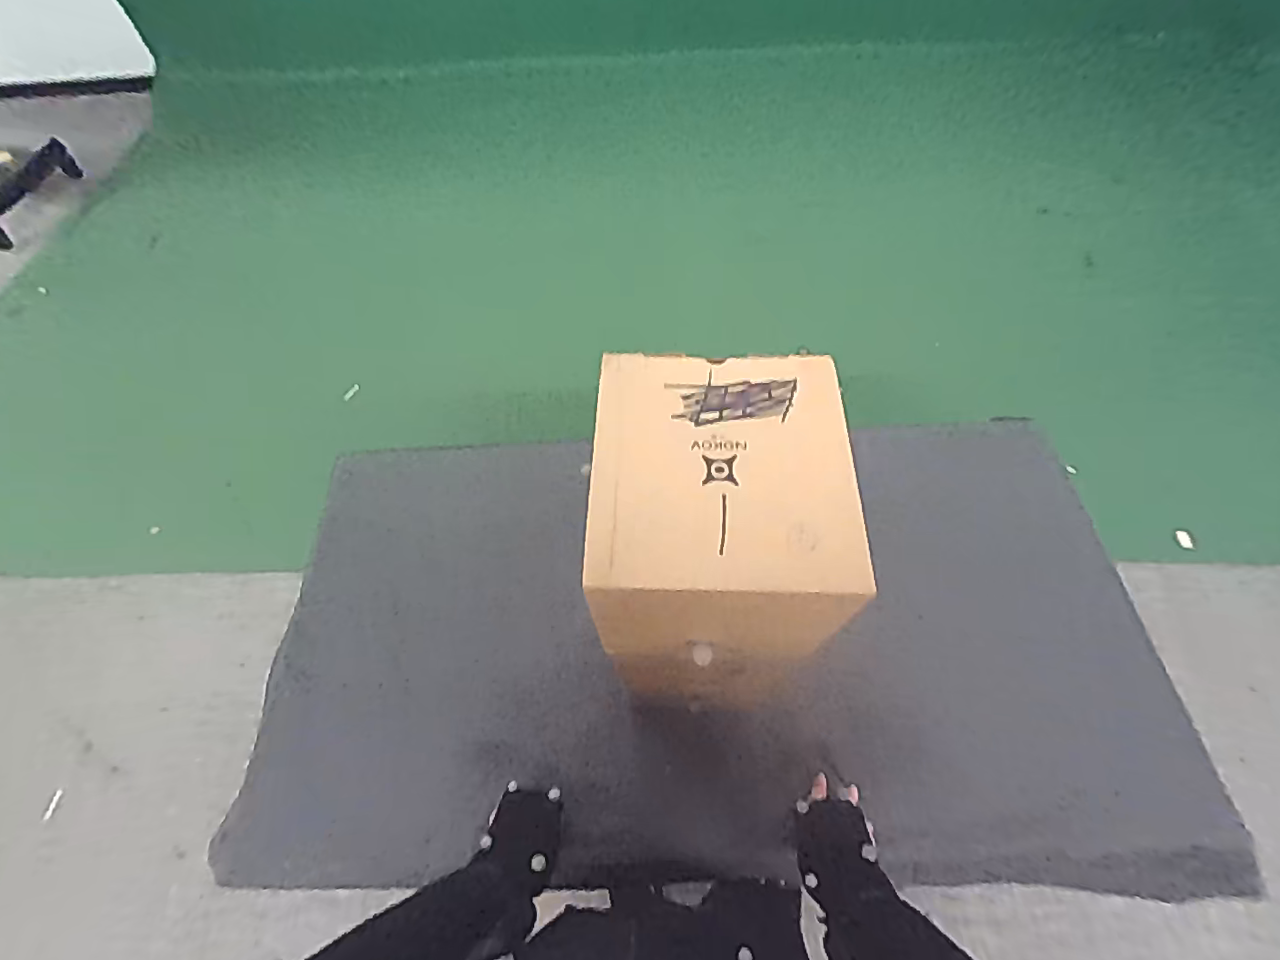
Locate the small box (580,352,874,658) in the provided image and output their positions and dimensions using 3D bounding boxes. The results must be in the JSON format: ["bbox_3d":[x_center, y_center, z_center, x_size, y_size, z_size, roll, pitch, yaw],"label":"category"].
[{"bbox_3d":[0.053,0.026,0.408,0.168,0.176,0.179,1,62,3],"label":"small box"}]
